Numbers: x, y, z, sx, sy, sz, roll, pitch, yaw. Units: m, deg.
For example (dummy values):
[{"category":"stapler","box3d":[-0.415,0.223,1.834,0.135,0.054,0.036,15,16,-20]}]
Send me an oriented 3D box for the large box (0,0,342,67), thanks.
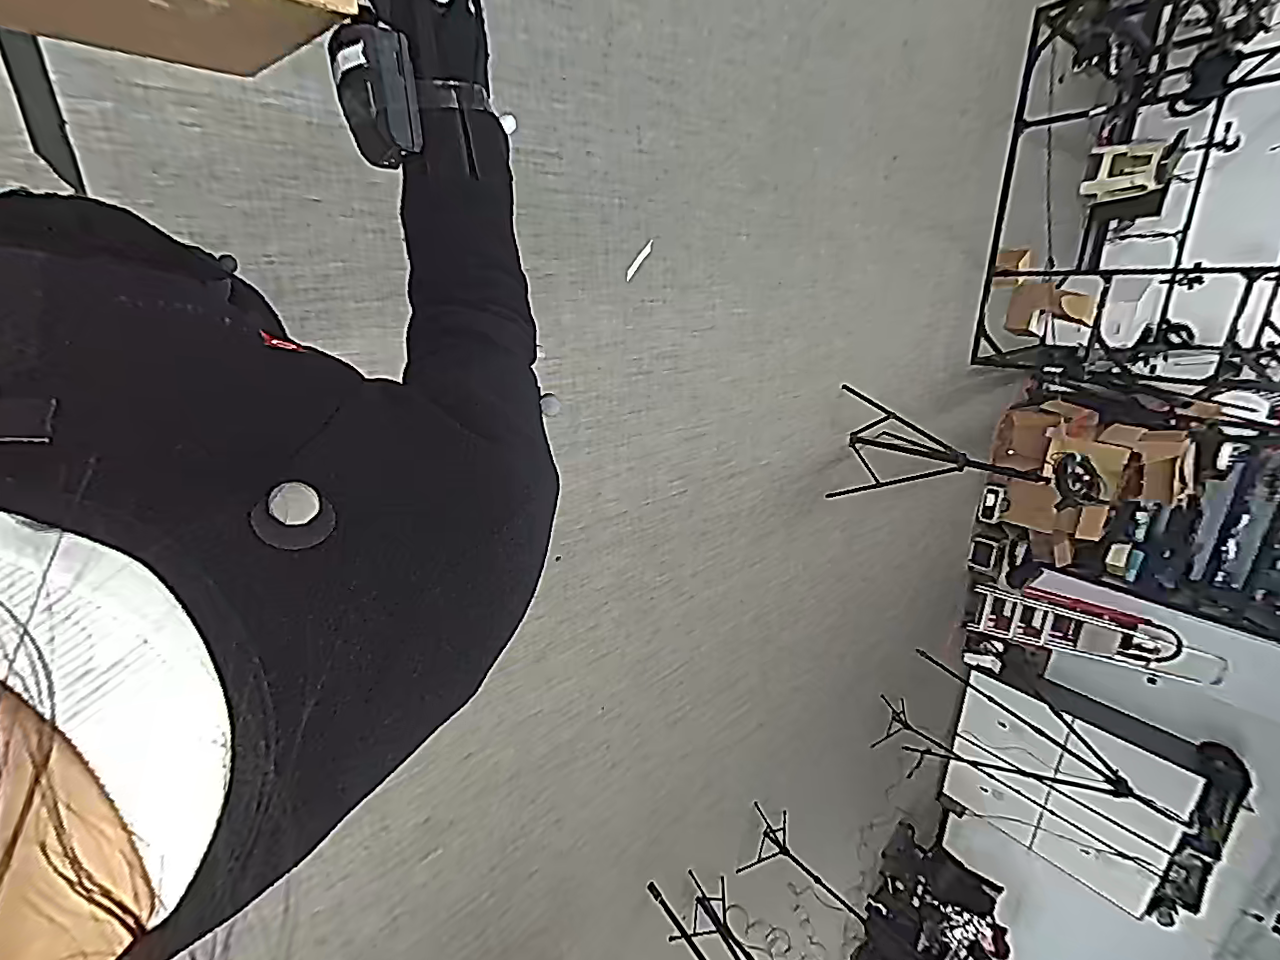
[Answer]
[{"category":"large box","box3d":[-0.401,-0.412,0.215,0.408,0.320,0.320,-18,125,-39]}]
